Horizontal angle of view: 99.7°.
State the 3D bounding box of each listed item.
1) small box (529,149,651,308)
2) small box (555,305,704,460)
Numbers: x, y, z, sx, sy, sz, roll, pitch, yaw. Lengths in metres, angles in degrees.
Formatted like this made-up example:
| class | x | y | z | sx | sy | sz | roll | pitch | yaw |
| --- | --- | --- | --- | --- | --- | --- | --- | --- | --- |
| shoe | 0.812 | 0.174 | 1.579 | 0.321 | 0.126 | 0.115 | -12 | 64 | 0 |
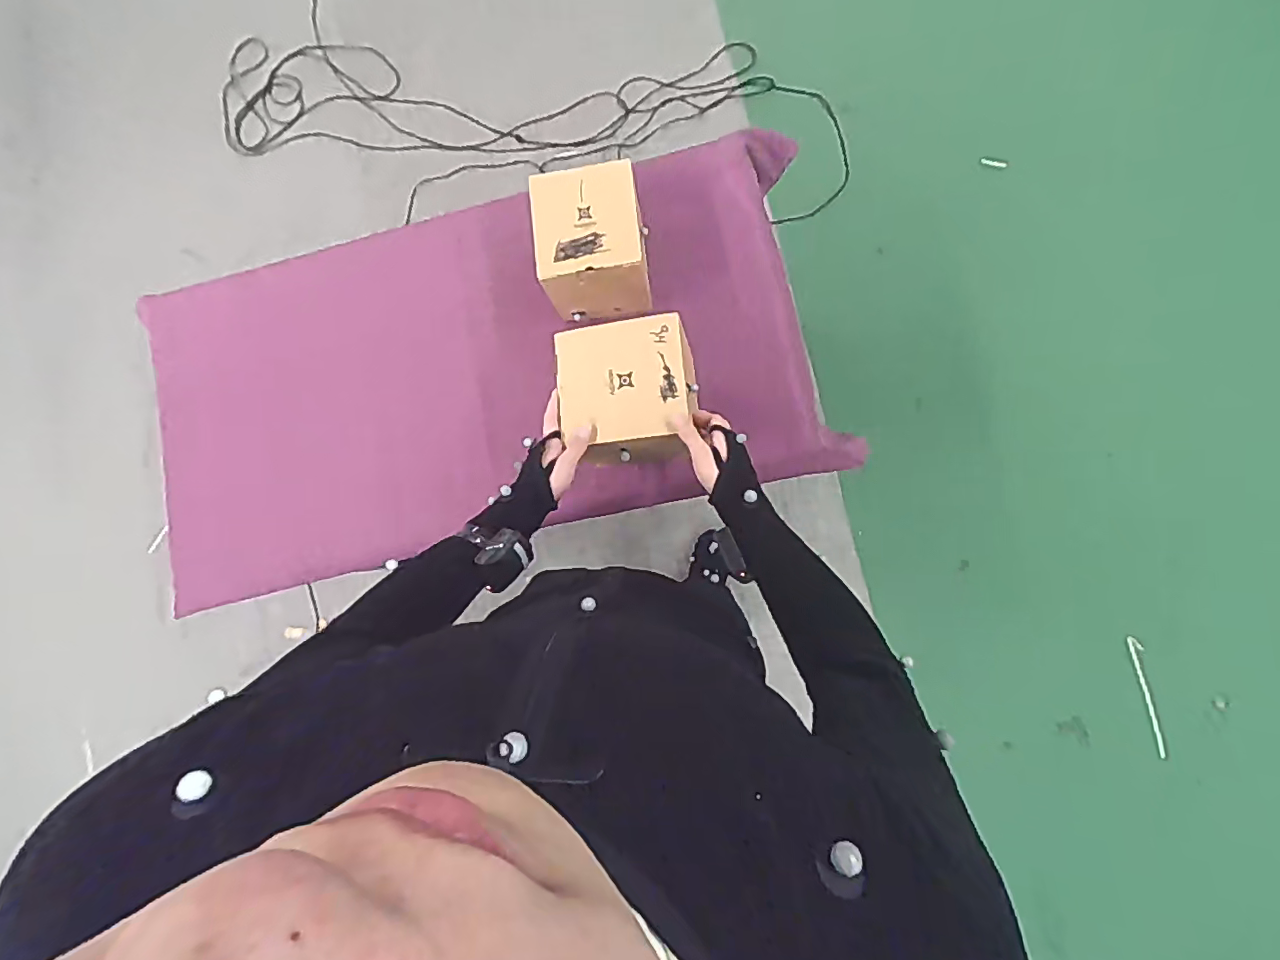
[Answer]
| class | x | y | z | sx | sy | sz | roll | pitch | yaw |
| --- | --- | --- | --- | --- | --- | --- | --- | --- | --- |
| small box | -0.075 | -0.401 | 0.899 | 0.168 | 0.176 | 0.179 | -7 | 83 | 5 |
| small box | -0.009 | -0.127 | 0.779 | 0.179 | 0.176 | 0.168 | -6 | 81 | 12 |
